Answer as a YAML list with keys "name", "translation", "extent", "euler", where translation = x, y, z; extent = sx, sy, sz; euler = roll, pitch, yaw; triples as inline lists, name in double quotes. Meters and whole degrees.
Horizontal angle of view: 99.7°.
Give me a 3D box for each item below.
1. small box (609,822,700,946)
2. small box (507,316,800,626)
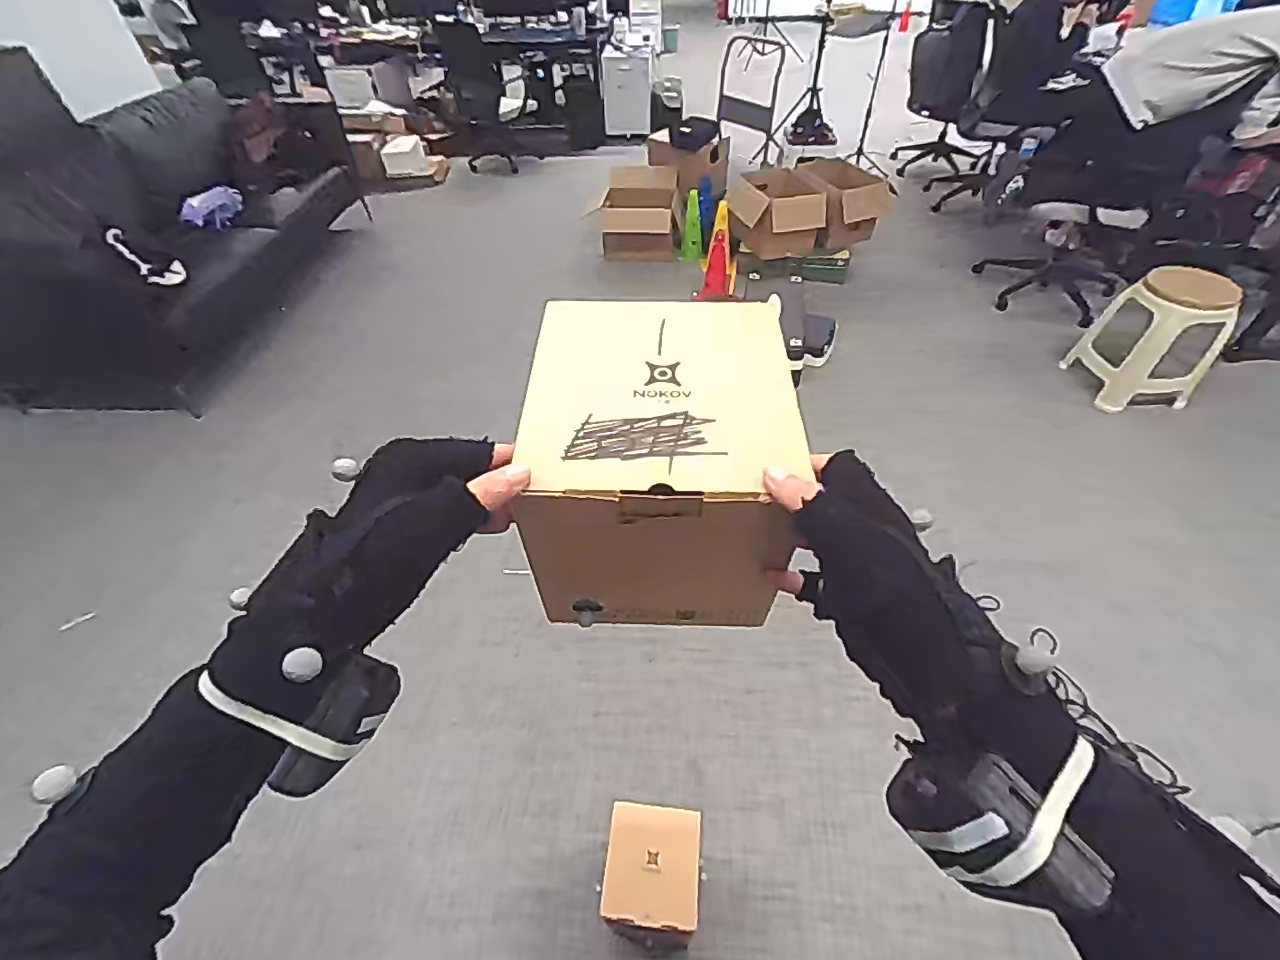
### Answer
- name: "small box"
  translation: [0.035, 0.847, 1.133]
  extent: [0.168, 0.176, 0.179]
  euler: [4, 47, 8]
- name: "small box"
  translation: [0.011, -0.002, 0.408]
  extent: [0.168, 0.176, 0.179]
  euler: [1, 51, 1]
